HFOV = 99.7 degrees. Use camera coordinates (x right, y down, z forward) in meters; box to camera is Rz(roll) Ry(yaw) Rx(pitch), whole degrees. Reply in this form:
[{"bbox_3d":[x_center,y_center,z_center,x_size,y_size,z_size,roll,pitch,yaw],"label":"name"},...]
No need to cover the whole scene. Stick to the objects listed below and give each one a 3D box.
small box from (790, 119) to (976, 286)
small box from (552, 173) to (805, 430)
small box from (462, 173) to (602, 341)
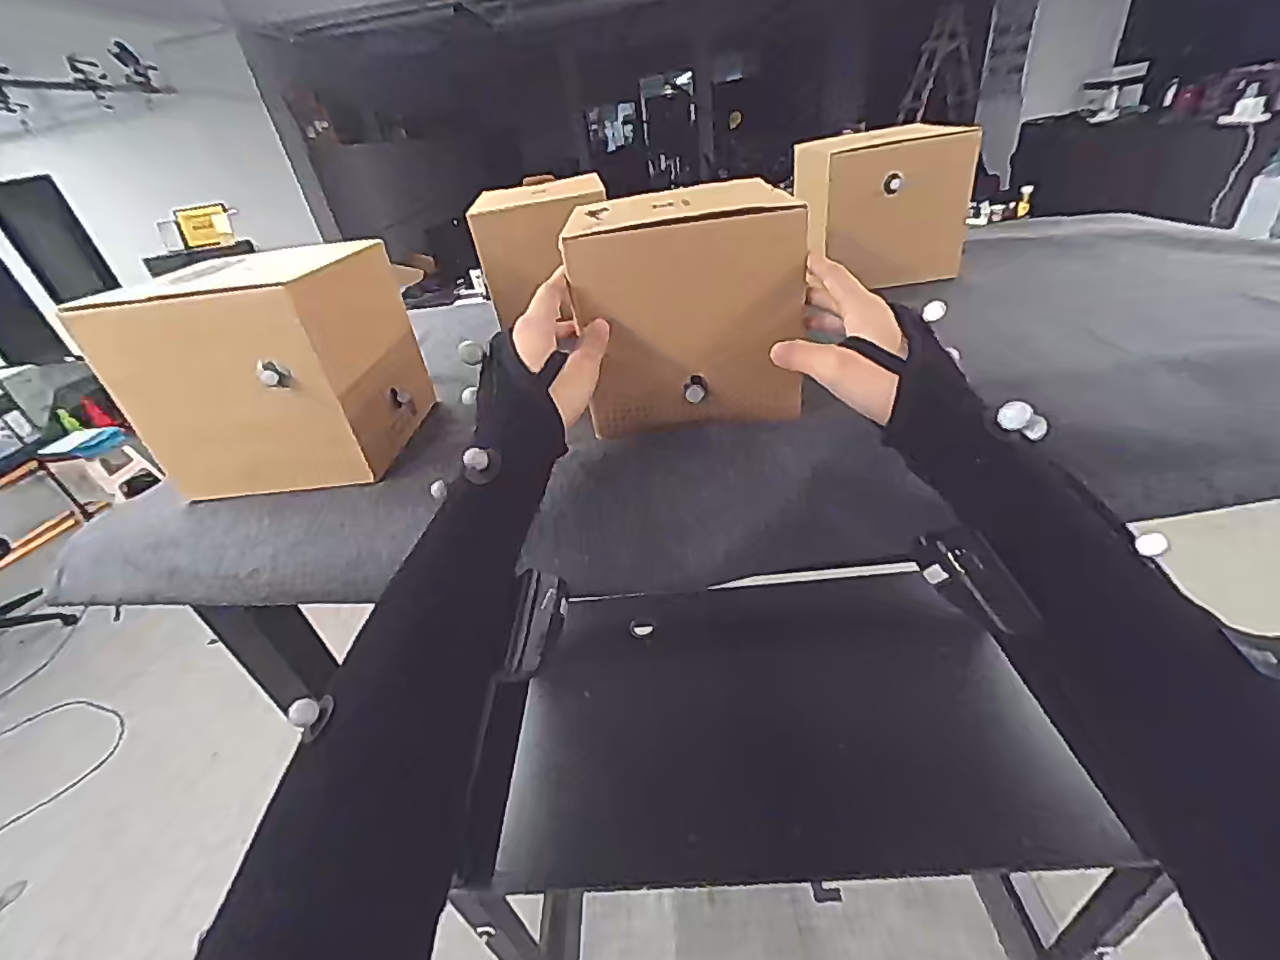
[{"bbox_3d":[0.305,-0.368,0.721,0.179,0.176,0.168,-7,34,4],"label":"small box"},{"bbox_3d":[0.033,-0.159,0.475,0.179,0.176,0.168,-6,33,3],"label":"small box"},{"bbox_3d":[-0.123,-0.304,0.733,0.168,0.176,0.179,-12,34,-1],"label":"small box"}]
